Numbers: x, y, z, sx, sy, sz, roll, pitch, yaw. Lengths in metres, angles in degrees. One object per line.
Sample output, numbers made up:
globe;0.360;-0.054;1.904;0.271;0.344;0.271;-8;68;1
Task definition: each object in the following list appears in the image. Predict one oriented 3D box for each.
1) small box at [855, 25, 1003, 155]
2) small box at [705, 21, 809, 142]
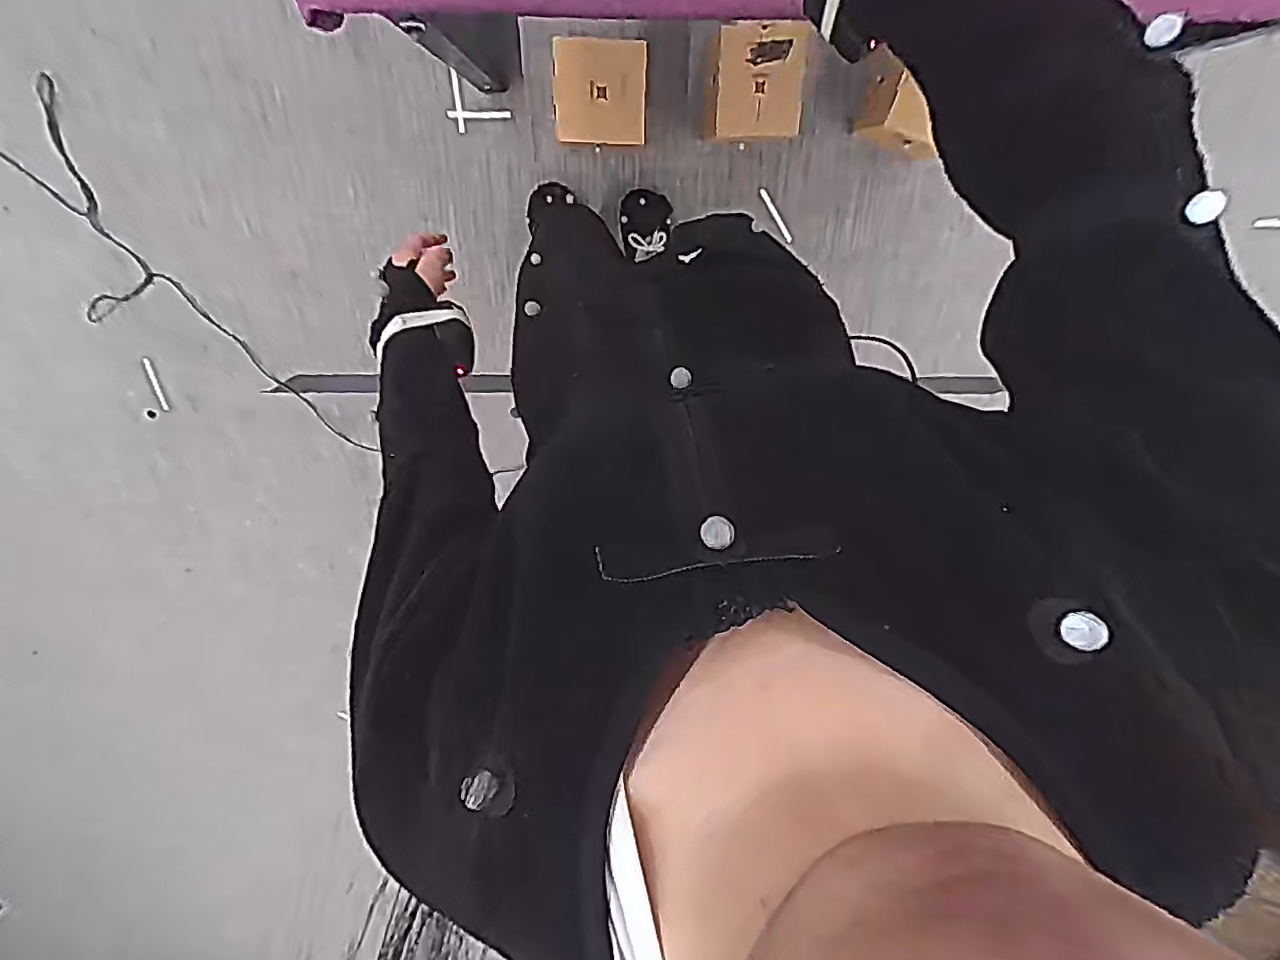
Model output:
small box;0.581;-0.788;1.114;0.179;0.176;0.168;14;117;-9
small box;0.225;-0.794;1.092;0.168;0.176;0.179;-2;119;-1
